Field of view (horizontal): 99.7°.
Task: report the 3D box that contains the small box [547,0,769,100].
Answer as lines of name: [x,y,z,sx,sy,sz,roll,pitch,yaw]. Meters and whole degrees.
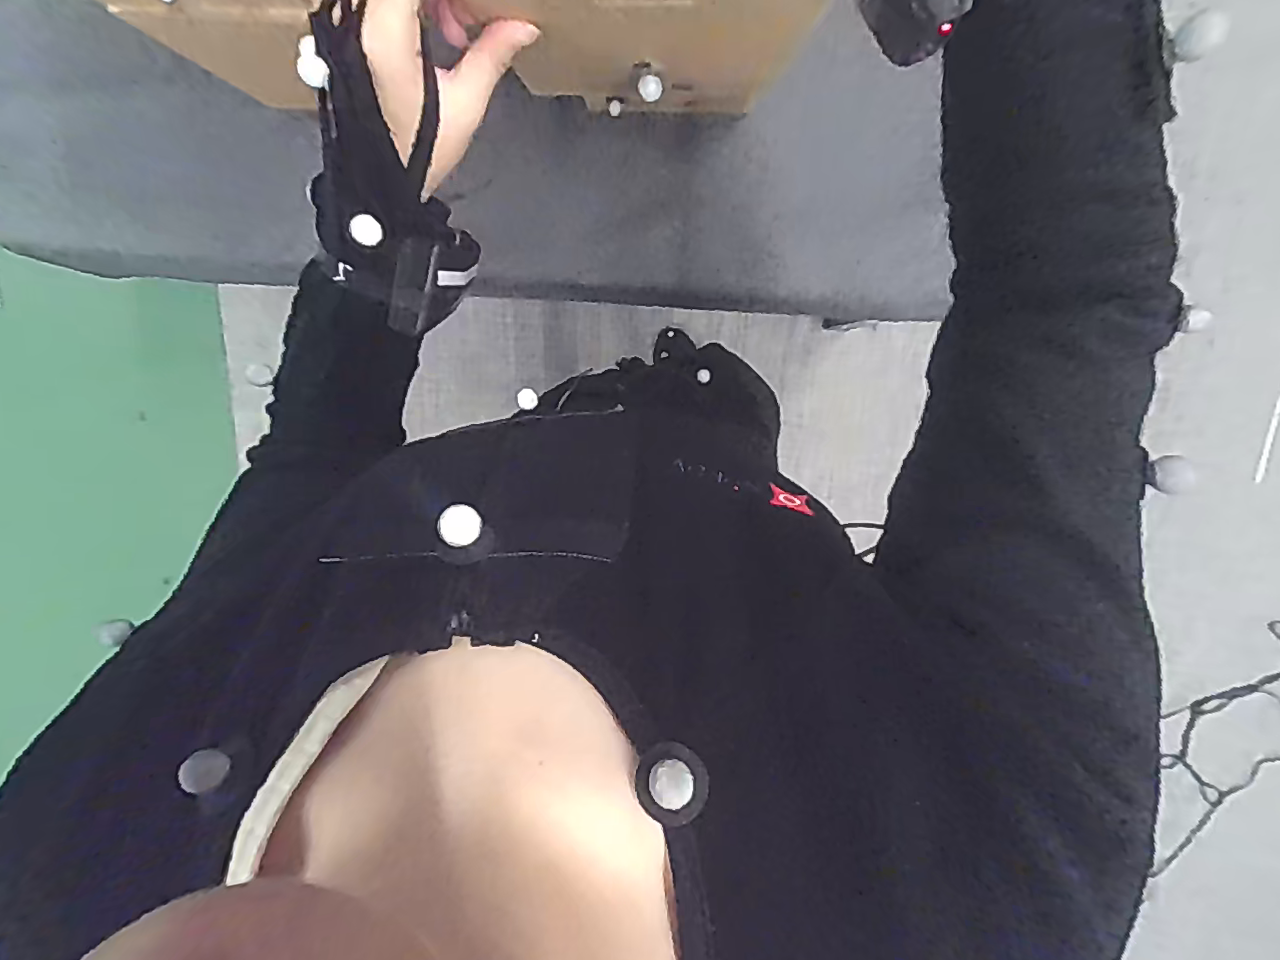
small box: [0.026,-0.439,0.439,0.168,0.176,0.179,4,103,5]

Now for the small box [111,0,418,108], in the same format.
small box: [-0.310,-0.454,0.472,0.179,0.176,0.168,5,102,5]
